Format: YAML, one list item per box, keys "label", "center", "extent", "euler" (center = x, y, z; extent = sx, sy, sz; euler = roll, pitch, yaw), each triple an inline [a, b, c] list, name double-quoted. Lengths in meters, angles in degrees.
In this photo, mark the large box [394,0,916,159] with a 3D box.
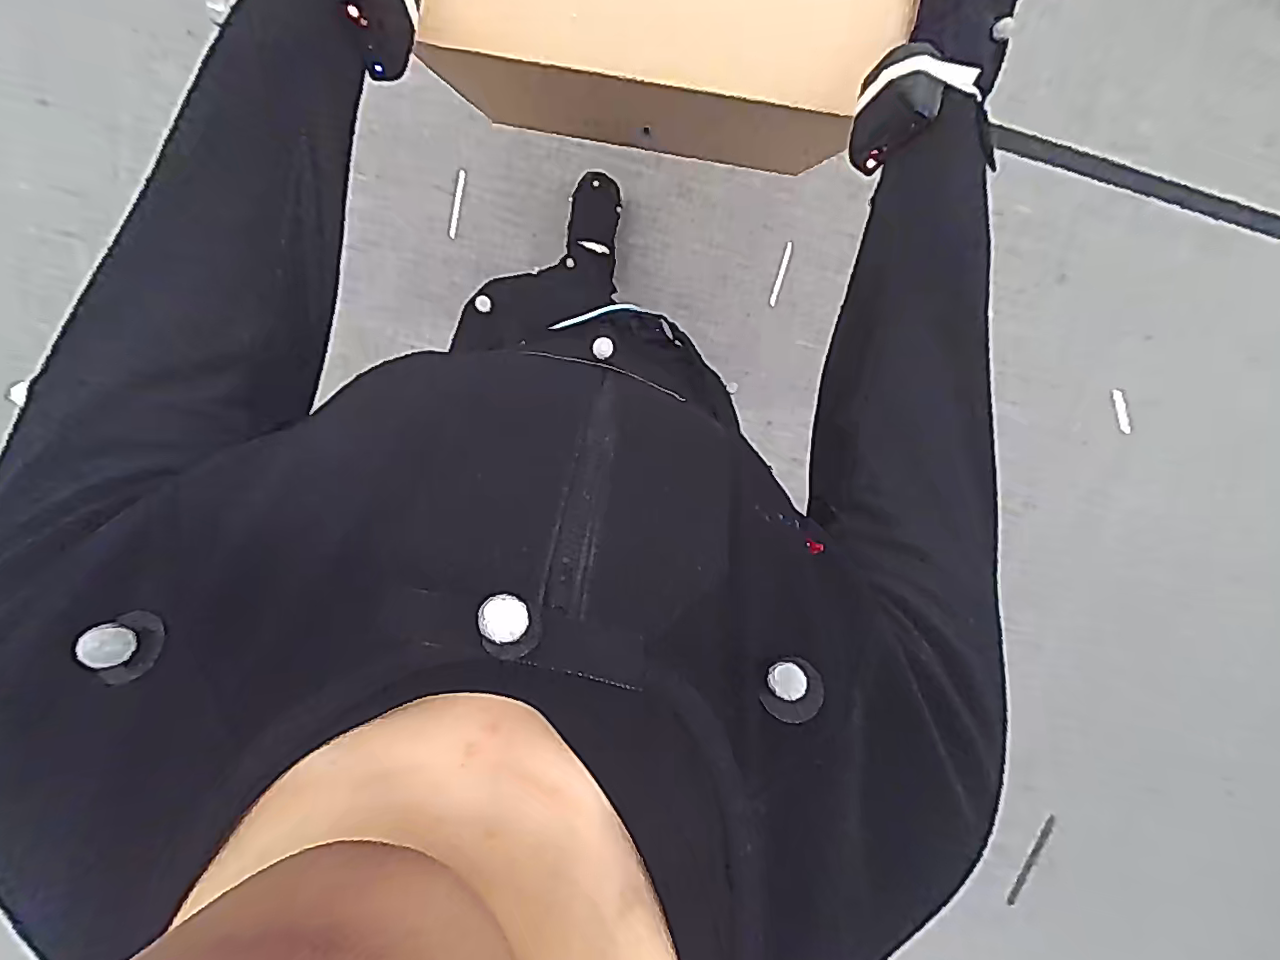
- label: "large box"
  center: [0.031, -0.525, 0.509]
  extent: [0.408, 0.320, 0.320]
  euler: [9, 112, -2]
